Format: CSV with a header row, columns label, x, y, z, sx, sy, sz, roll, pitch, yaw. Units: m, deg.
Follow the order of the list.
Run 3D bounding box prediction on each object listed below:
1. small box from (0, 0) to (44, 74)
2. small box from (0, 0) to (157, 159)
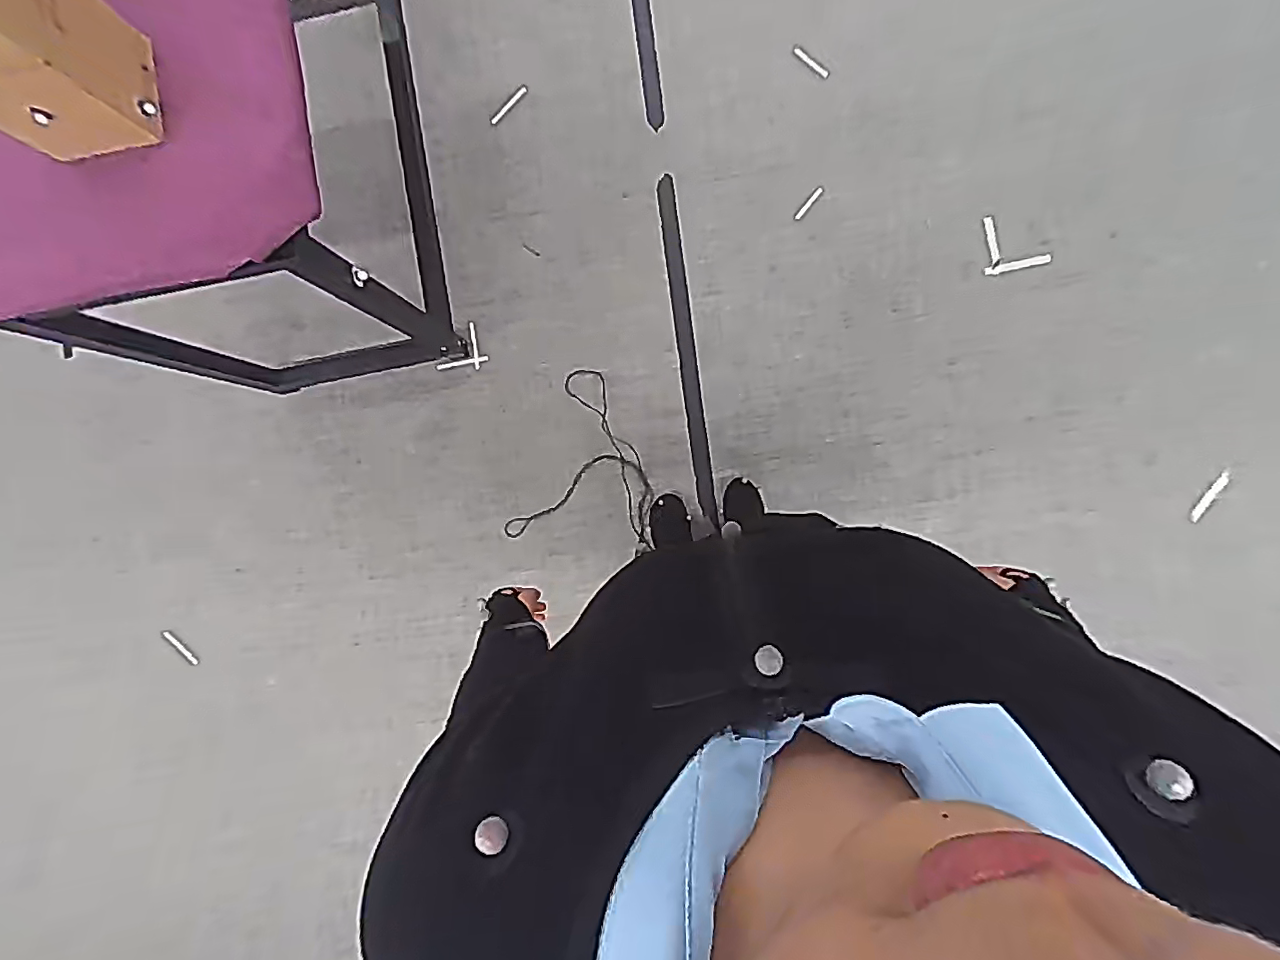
label,x,y,z,sx,sy,sz,roll,pitch,yaw
small box,-0.843,-0.598,0.607,0.168,0.176,0.179,-9,88,3
small box,-0.842,-0.597,0.772,0.179,0.176,0.168,-9,88,4
